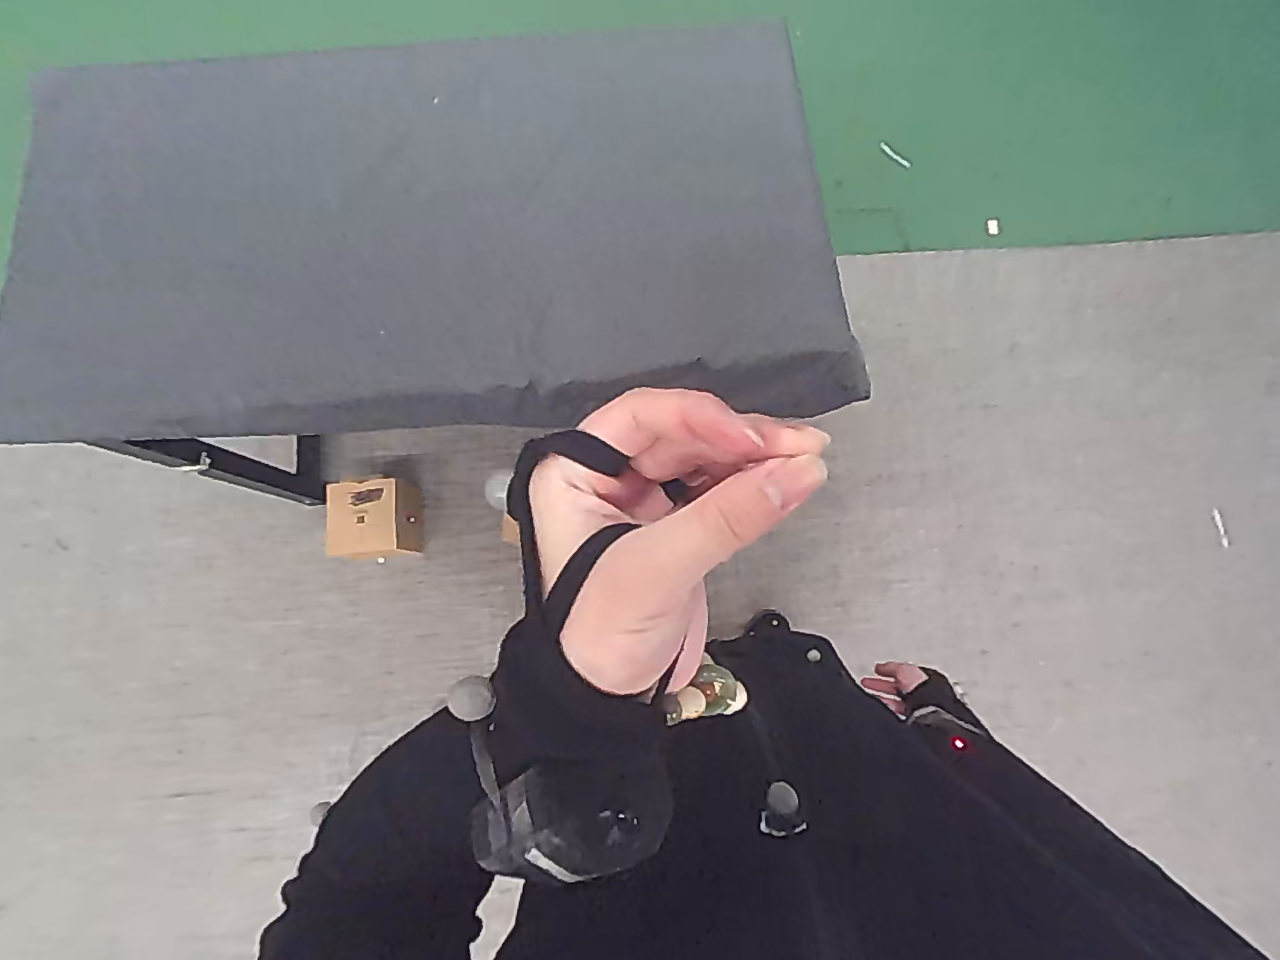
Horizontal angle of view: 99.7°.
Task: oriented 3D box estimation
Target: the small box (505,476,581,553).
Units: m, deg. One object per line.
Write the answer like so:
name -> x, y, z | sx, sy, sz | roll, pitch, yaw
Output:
small box -> -0.239, 0.093, 1.366 | 0.168, 0.176, 0.179 | -1, 77, -2

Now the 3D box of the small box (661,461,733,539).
small box -> 0.139, 0.058, 1.373 | 0.168, 0.176, 0.179 | -2, 77, 0

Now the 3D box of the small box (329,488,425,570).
small box -> -0.651, 0.128, 1.354 | 0.168, 0.176, 0.179 | -7, 79, -1
